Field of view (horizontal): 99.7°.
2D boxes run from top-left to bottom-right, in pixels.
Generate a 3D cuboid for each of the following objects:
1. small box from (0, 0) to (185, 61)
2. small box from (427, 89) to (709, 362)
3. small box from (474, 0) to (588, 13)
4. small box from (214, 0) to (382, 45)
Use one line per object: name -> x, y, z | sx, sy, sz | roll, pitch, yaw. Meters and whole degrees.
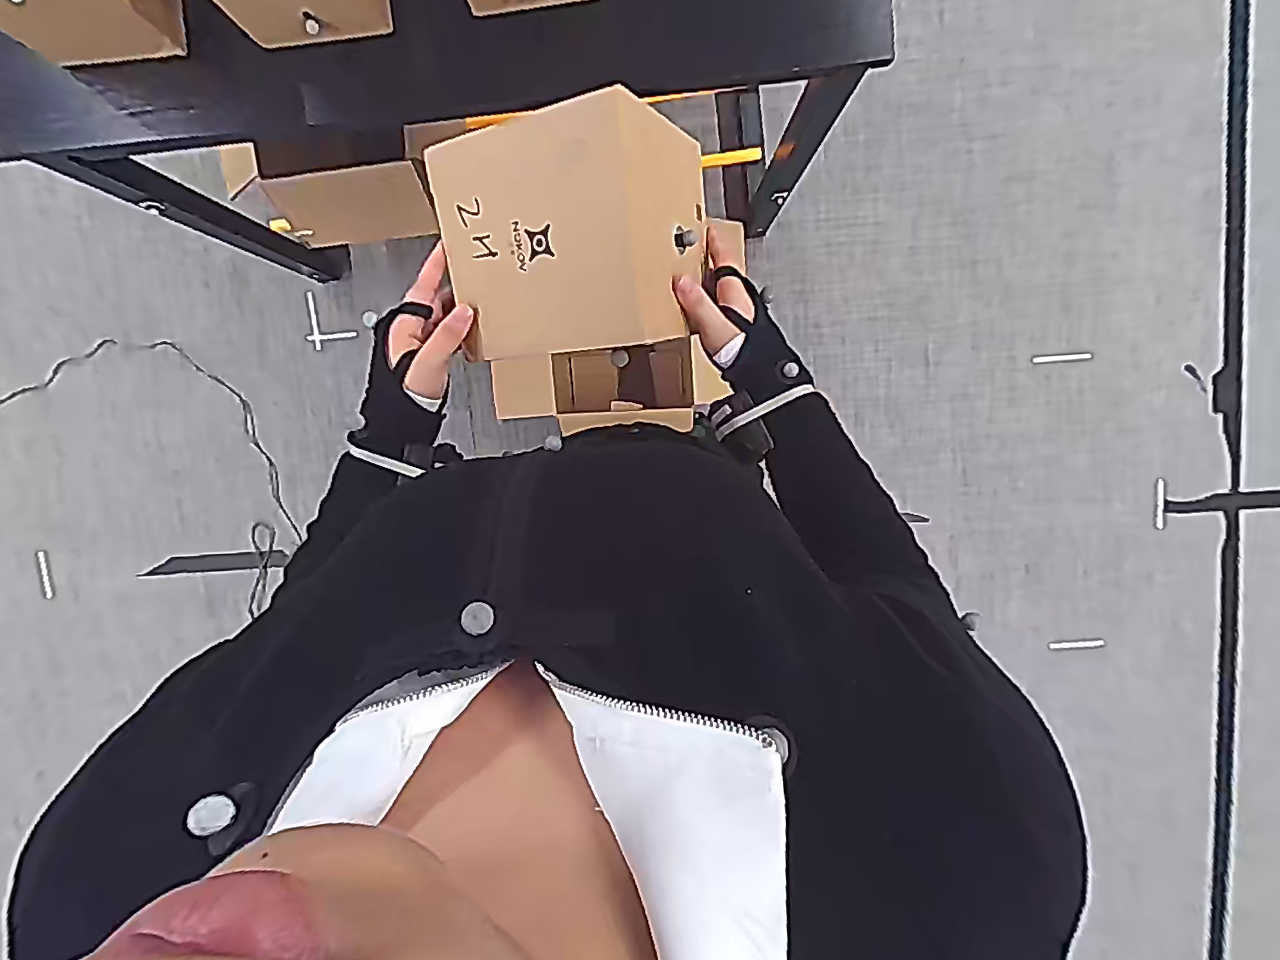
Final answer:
small box -> -0.672, -0.611, 0.606 | 0.179, 0.176, 0.168 | -4, 97, 0
small box -> -0.044, -0.199, 0.469 | 0.179, 0.176, 0.168 | 1, 107, 25
small box -> -0.141, -0.676, 0.595 | 0.168, 0.176, 0.179 | -7, 96, 1
small box -> -0.410, -0.633, 0.603 | 0.179, 0.176, 0.168 | -7, 96, 0
